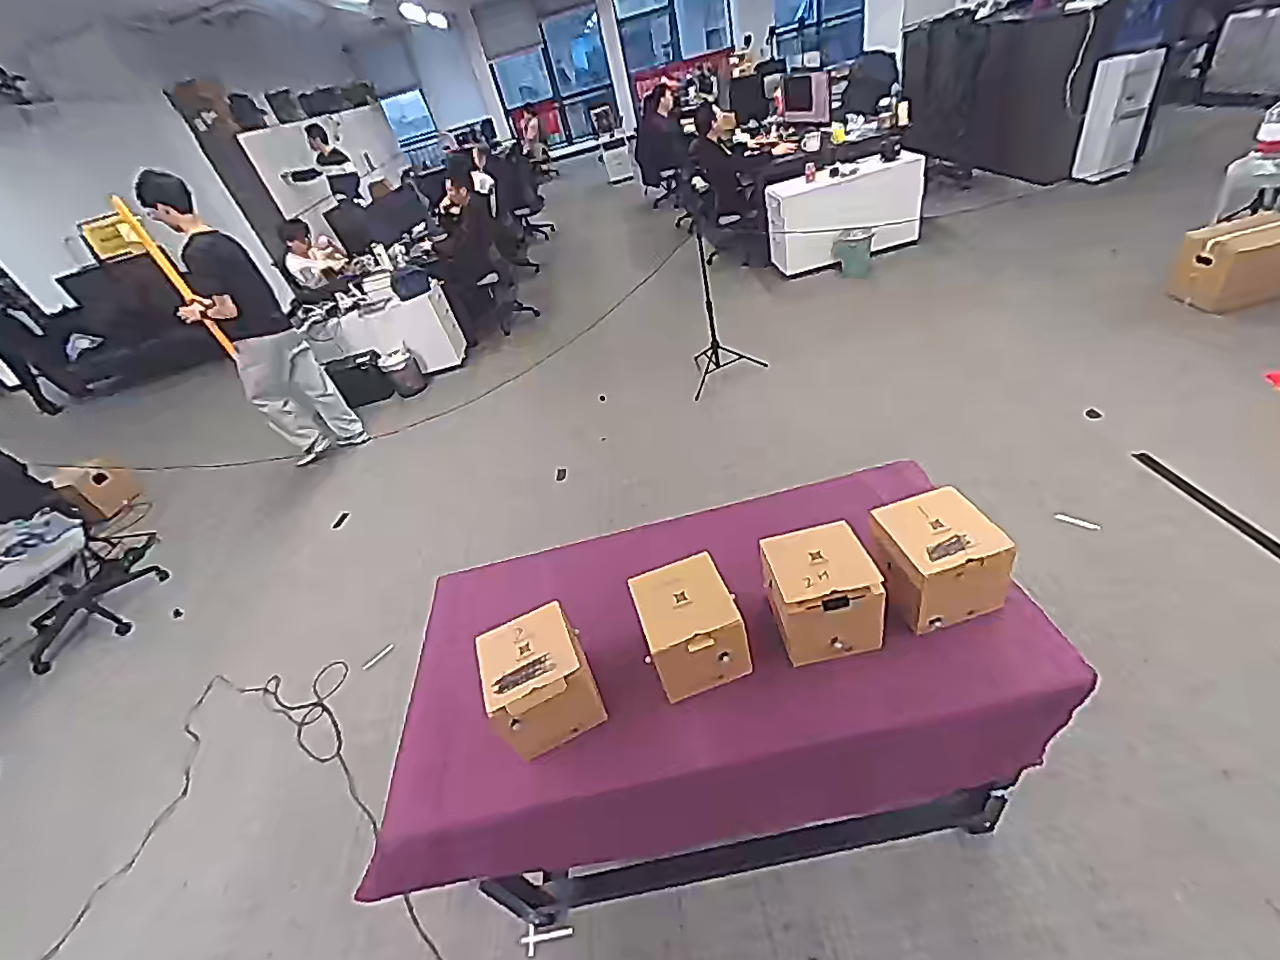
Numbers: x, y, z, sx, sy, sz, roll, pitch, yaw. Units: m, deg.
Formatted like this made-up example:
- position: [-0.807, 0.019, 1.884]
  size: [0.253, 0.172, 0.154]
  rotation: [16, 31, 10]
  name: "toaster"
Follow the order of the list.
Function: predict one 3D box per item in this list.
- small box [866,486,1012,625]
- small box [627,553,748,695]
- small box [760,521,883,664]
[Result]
- position: [0.539, 0.145, 1.000]
  size: [0.168, 0.176, 0.179]
  rotation: [-18, 37, 0]
  name: "small box"
- position: [0.091, 0.275, 1.012]
  size: [0.168, 0.176, 0.179]
  rotation: [-19, 37, -4]
  name: "small box"
- position: [0.328, 0.208, 1.001]
  size: [0.168, 0.176, 0.179]
  rotation: [-14, 38, 4]
  name: "small box"
